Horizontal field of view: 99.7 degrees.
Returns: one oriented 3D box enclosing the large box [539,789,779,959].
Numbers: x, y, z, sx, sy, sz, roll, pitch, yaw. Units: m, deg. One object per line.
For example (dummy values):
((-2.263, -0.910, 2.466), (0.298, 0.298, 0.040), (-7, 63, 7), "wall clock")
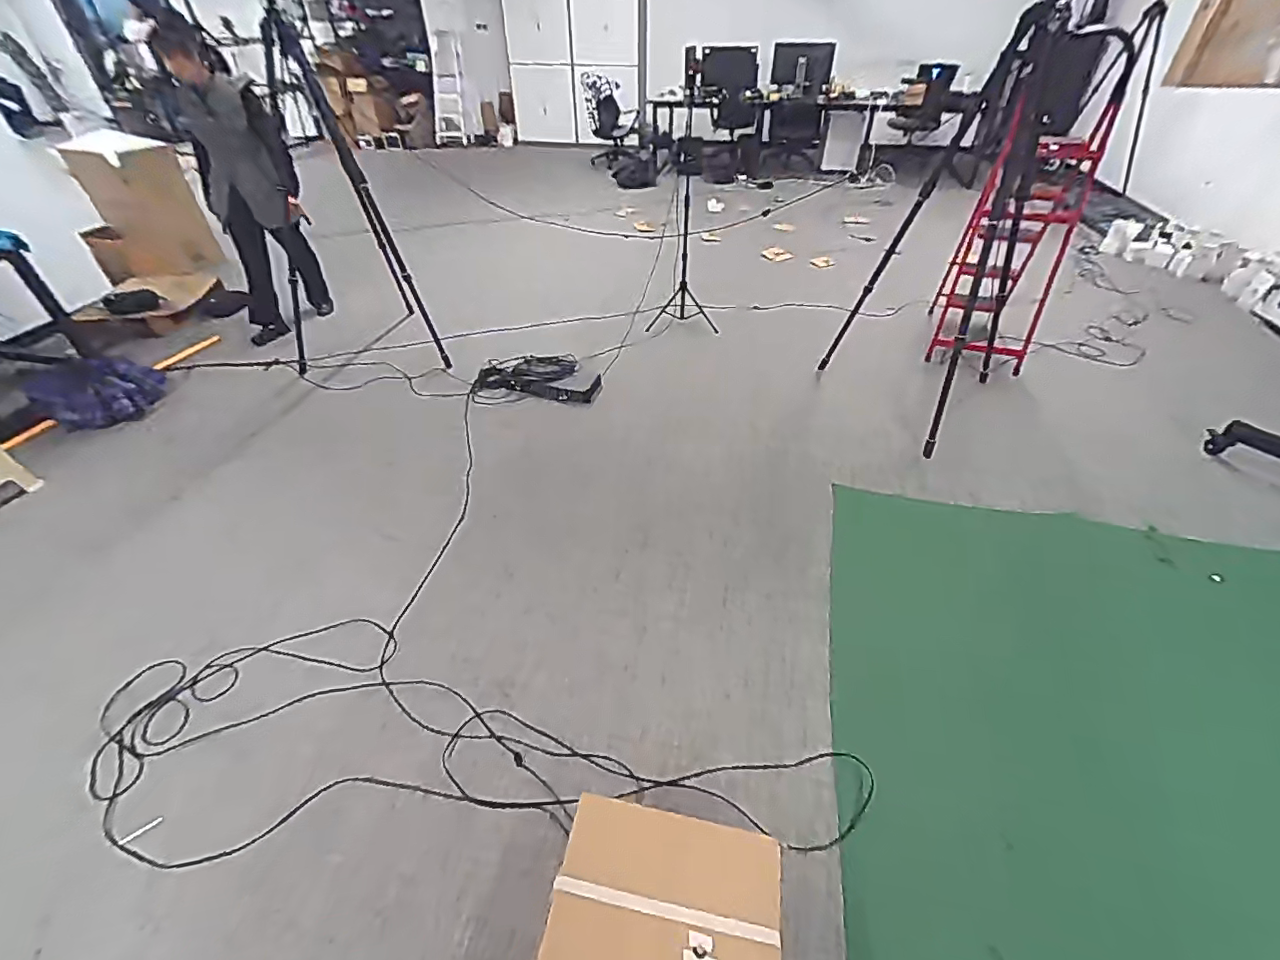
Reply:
((0.041, 0.868, 1.066), (0.408, 0.320, 0.320), (9, 42, 8), "large box")
